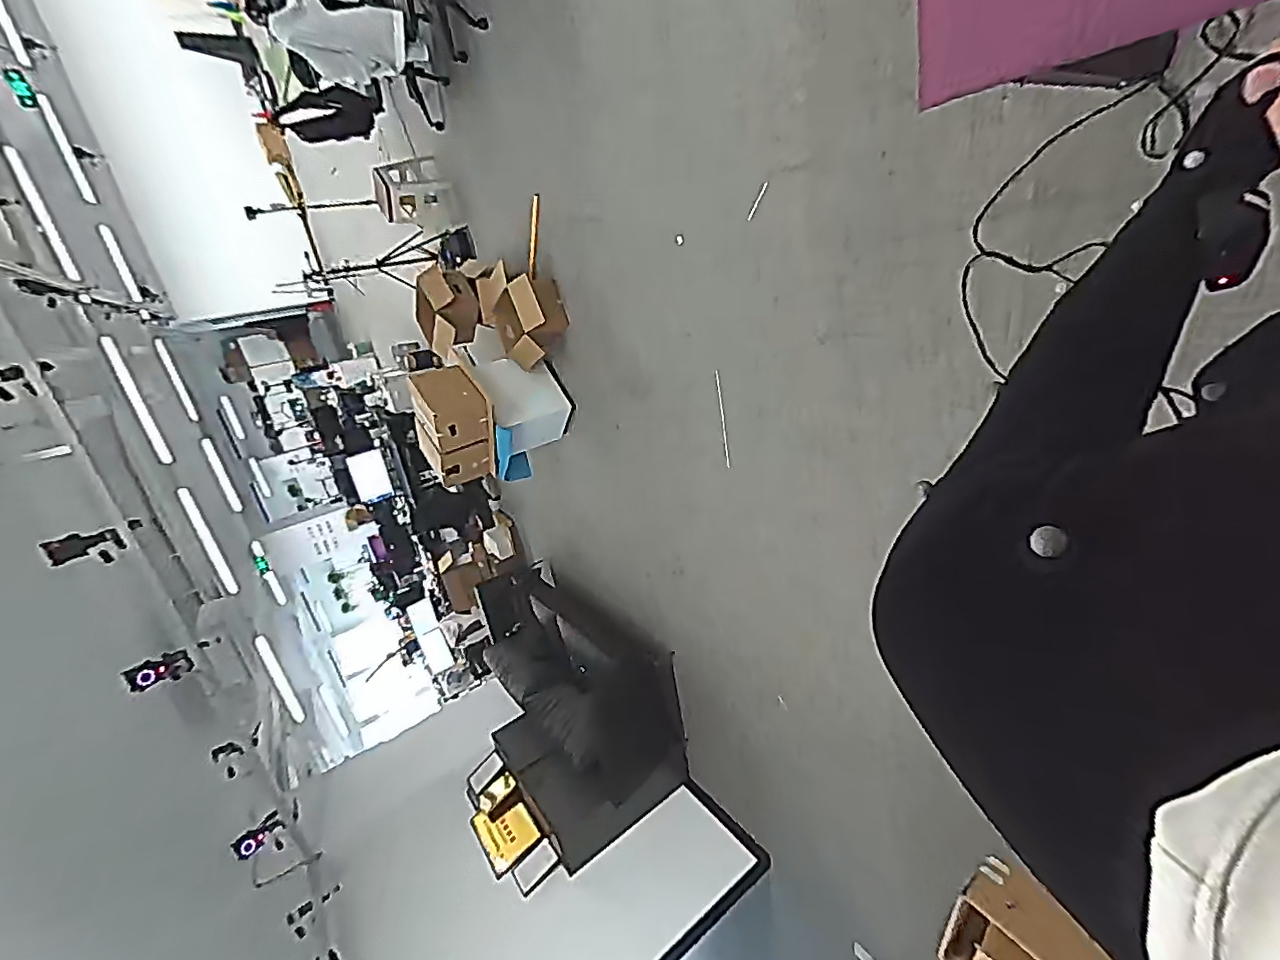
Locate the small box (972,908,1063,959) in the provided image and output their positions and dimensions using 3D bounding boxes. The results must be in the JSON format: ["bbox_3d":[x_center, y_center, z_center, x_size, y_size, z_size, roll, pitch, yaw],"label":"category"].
[{"bbox_3d":[1.049,1.358,1.507,0.168,0.176,0.179,30,134,47],"label":"small box"}]
